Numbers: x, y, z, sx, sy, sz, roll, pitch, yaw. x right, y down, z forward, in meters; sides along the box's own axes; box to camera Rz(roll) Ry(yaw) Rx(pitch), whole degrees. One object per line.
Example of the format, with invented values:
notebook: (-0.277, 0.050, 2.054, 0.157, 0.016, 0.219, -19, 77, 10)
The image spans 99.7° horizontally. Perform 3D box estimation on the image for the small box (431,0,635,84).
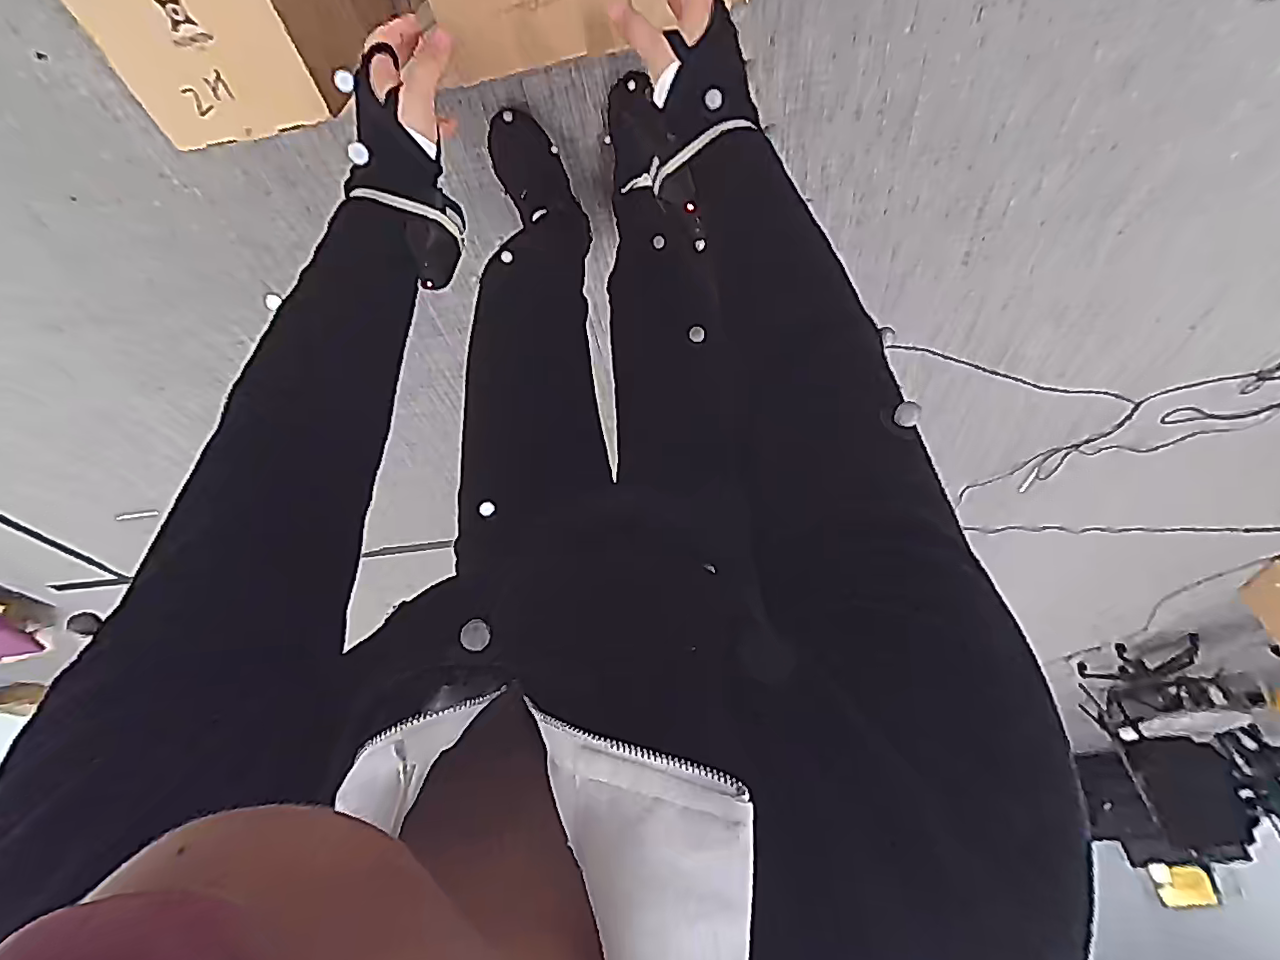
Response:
small box: (-0.103, -0.494, 0.474, 0.168, 0.176, 0.179, -8, 143, 9)

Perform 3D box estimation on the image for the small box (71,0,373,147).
small box: (-0.386, -0.452, 0.507, 0.168, 0.176, 0.179, -7, 143, 6)

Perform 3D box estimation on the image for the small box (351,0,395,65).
small box: (-0.411, -0.577, 0.614, 0.168, 0.176, 0.179, -9, 143, 7)
